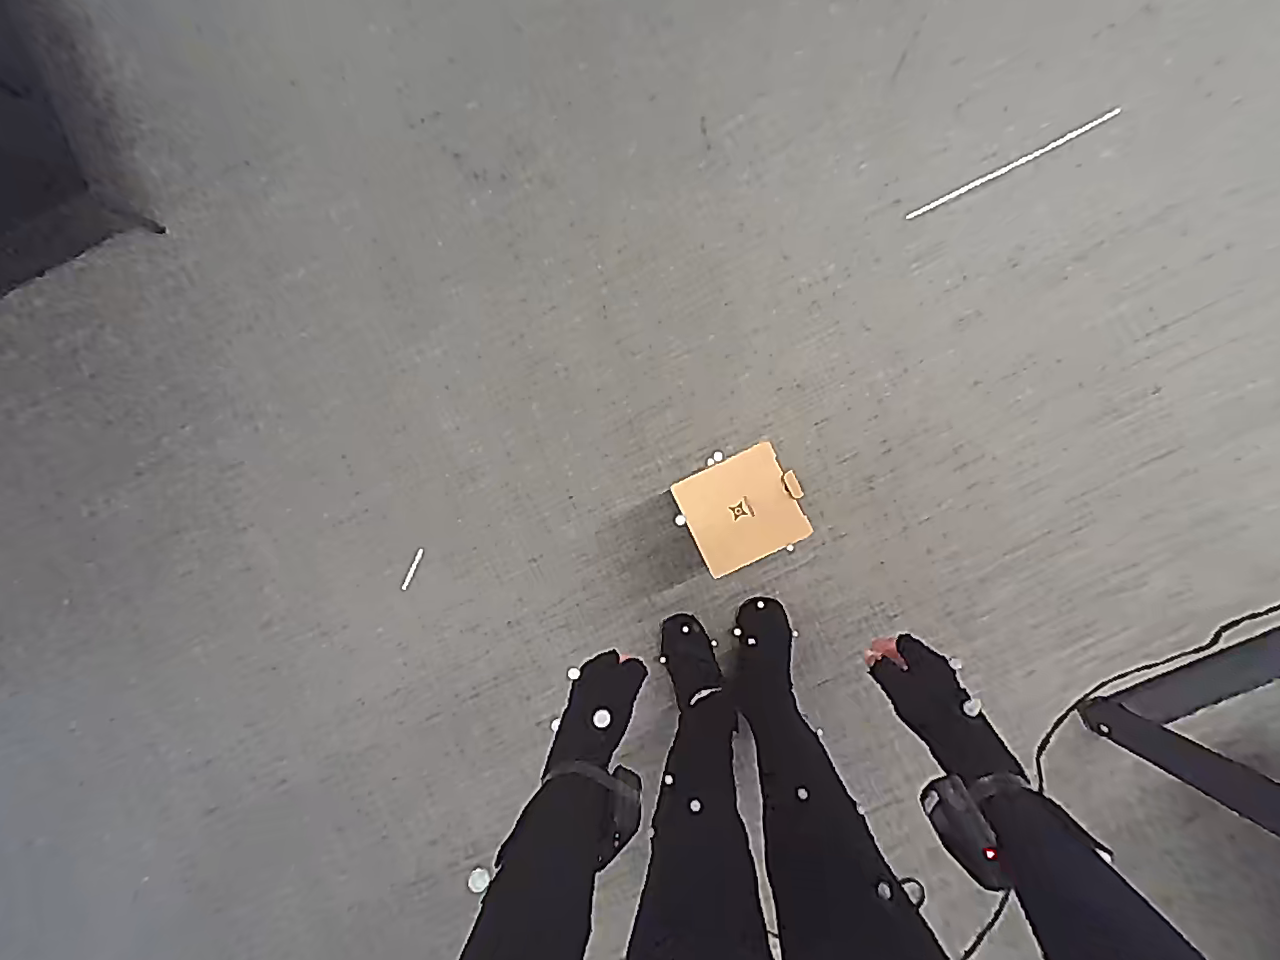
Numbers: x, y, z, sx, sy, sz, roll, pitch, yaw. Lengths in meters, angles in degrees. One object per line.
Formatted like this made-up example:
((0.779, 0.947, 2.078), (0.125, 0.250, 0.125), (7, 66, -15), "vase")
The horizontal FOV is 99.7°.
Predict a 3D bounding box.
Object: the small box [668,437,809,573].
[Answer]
((0.163, 0.043, 0.935), (0.179, 0.176, 0.168), (-26, 87, 3), "small box")
